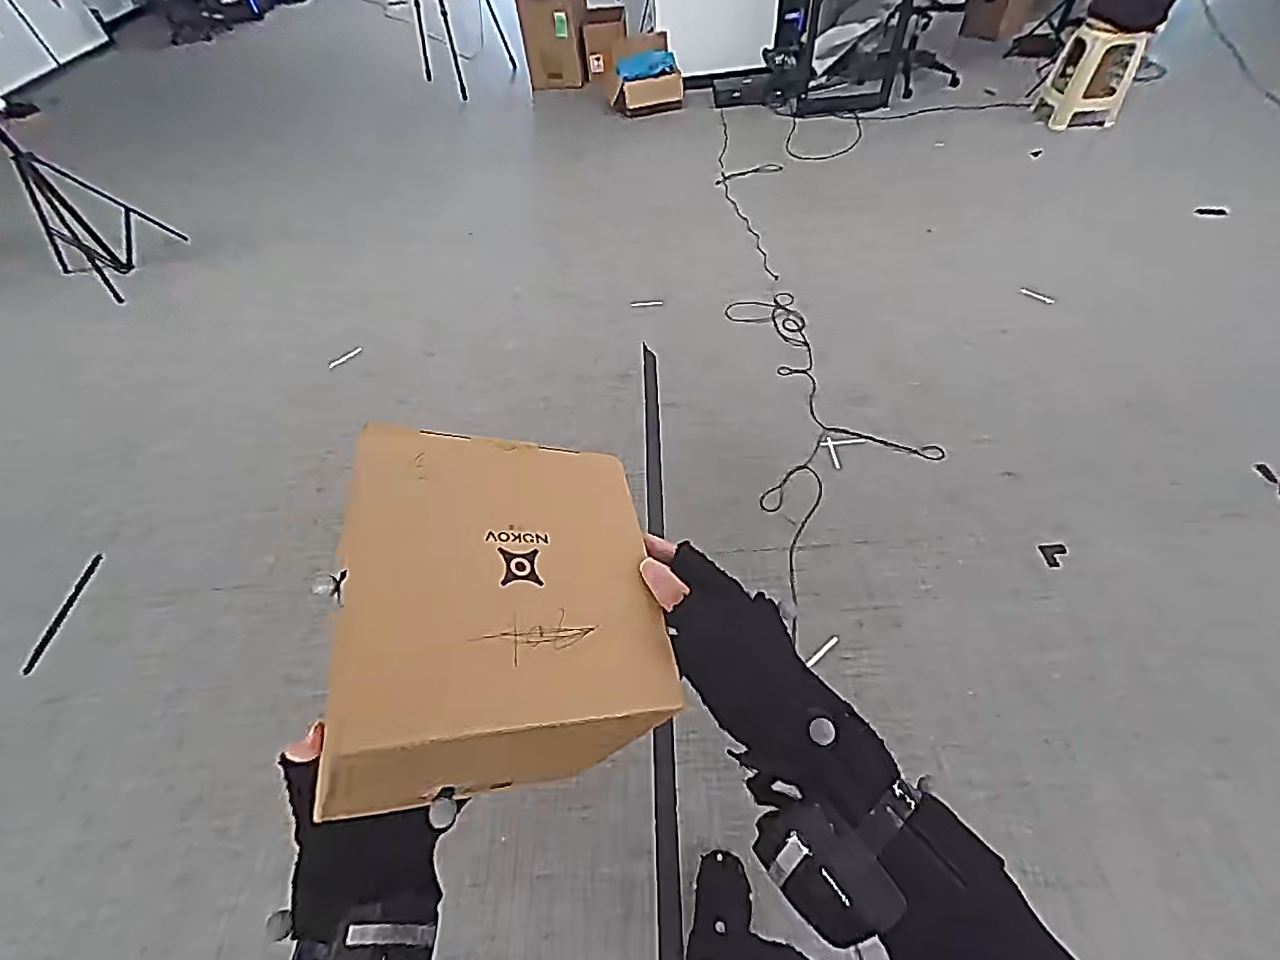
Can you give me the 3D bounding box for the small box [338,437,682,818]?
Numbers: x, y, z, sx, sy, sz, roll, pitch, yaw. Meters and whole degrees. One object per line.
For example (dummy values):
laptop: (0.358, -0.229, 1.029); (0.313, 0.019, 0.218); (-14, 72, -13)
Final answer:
small box: (-0.101, 0.099, 0.363); (0.168, 0.176, 0.179); (6, 50, -29)
